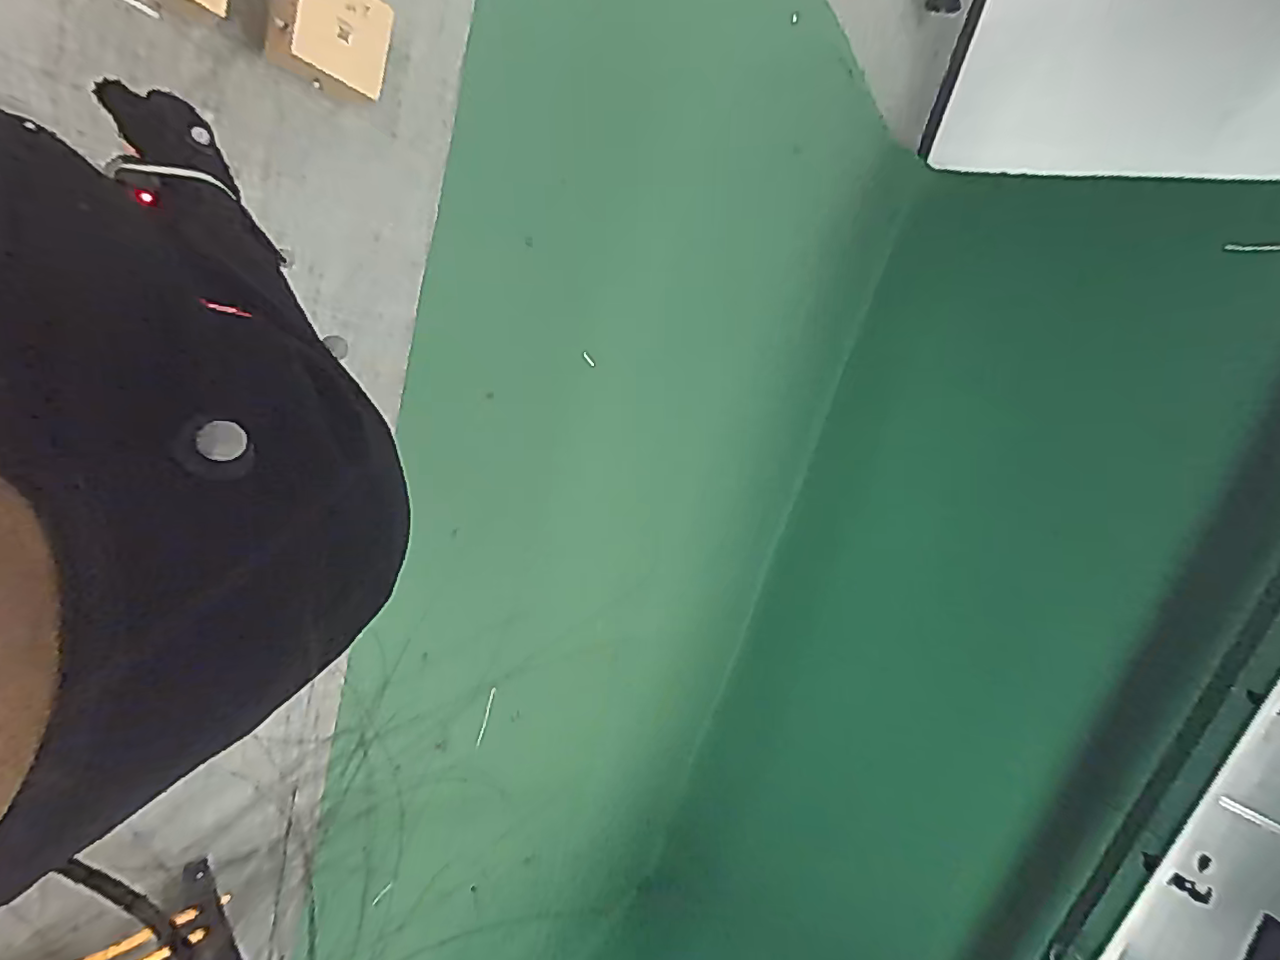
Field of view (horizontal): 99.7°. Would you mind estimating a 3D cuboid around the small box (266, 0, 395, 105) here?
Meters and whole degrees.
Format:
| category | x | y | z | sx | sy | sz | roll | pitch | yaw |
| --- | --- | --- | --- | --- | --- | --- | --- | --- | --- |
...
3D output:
| category | x | y | z | sx | sy | sz | roll | pitch | yaw |
| --- | --- | --- | --- | --- | --- | --- | --- | --- | --- |
| small box | -0.626 | -0.889 | 1.090 | 0.168 | 0.176 | 0.179 | 2 | 110 | -53 |
